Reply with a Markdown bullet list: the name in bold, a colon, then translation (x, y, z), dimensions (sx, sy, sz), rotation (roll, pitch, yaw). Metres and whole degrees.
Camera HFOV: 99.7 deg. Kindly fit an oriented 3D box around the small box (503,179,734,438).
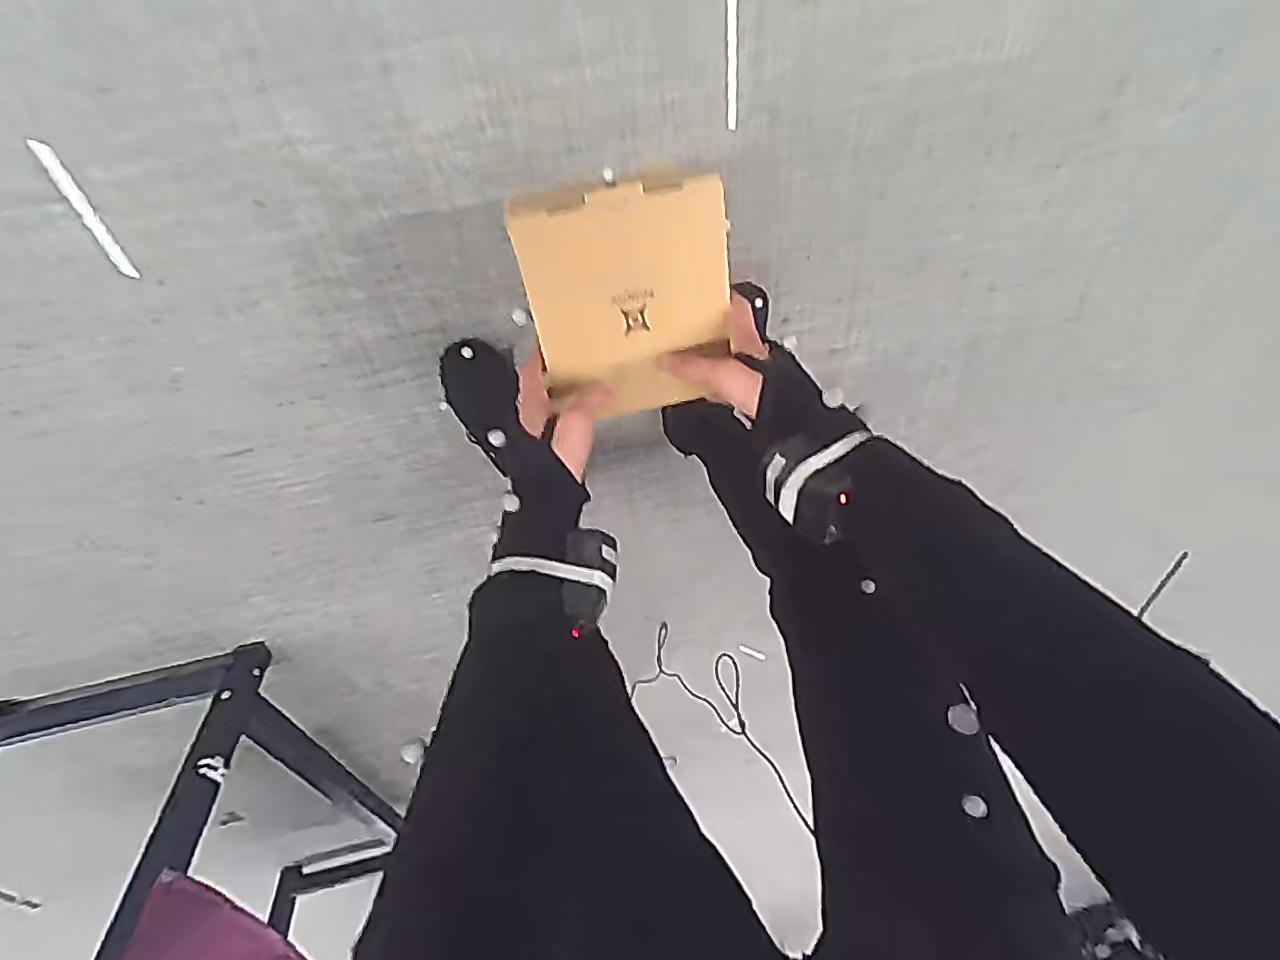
- **small box**: translation (-0.021, -0.167, 0.506), dimensions (0.168, 0.176, 0.179), rotation (-14, 123, -4)
